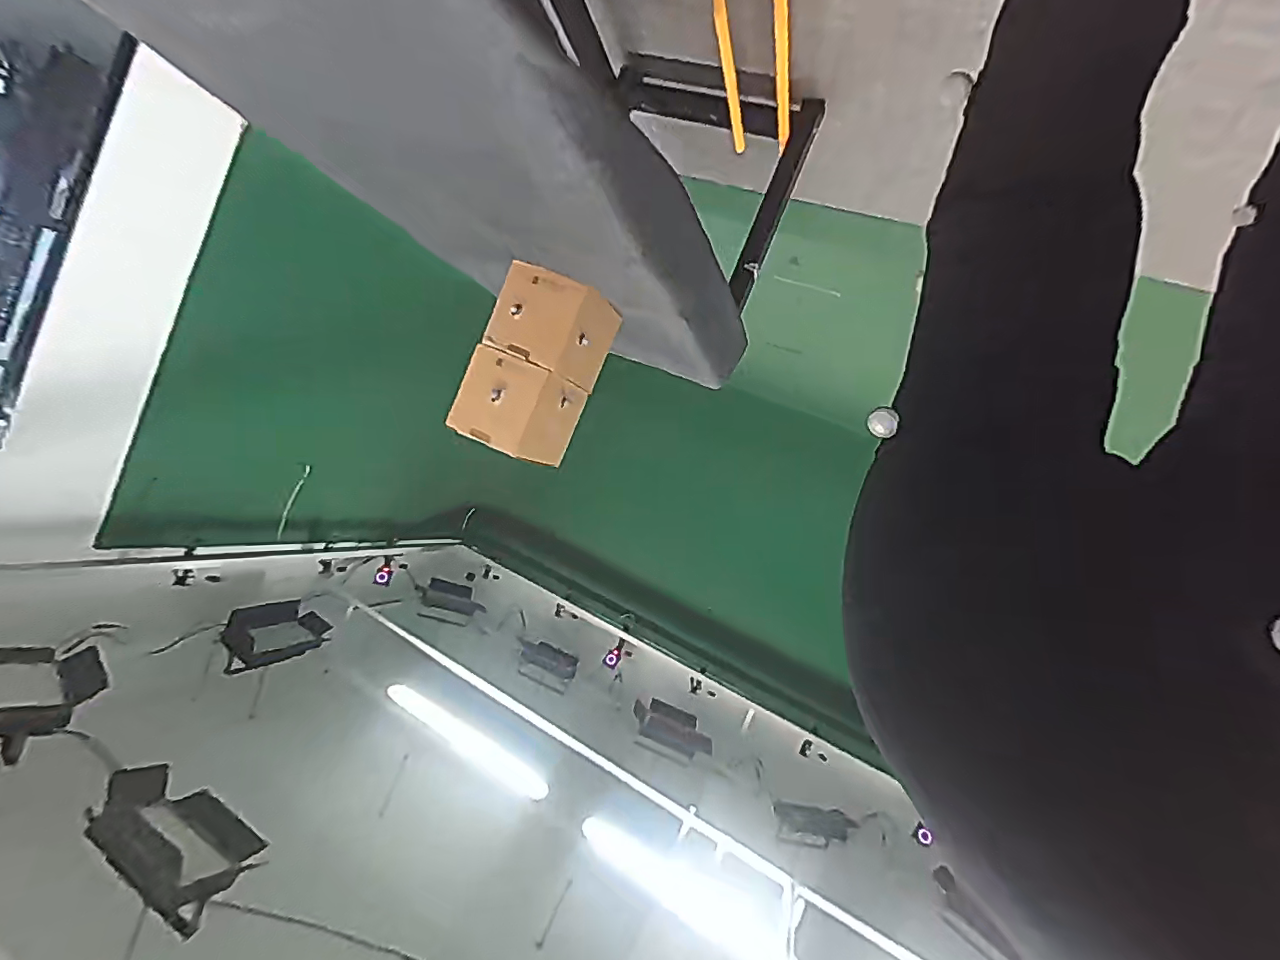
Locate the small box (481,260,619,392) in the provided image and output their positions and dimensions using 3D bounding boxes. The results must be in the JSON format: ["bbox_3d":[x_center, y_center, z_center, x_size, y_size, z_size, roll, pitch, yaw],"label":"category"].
[{"bbox_3d":[-0.164,-0.290,1.029,0.168,0.176,0.179,25,-177,17],"label":"small box"}]

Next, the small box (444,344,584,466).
[{"bbox_3d":[-0.234,-0.142,1.040,0.168,0.176,0.179,24,-178,18],"label":"small box"}]
